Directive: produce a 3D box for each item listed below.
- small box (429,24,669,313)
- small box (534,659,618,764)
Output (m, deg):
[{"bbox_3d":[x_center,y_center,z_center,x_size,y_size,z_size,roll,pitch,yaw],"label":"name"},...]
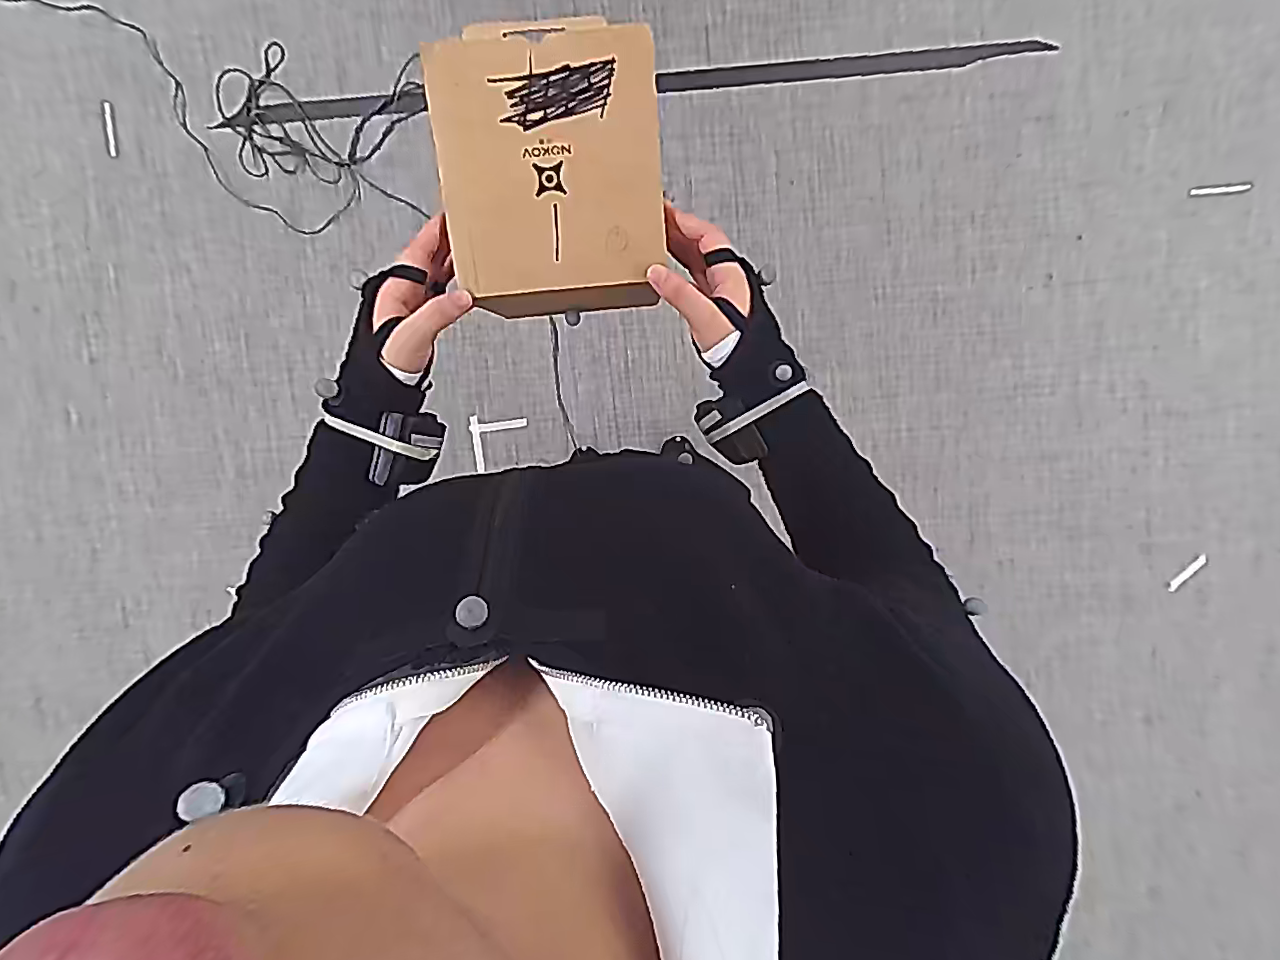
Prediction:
[{"bbox_3d":[-0.067,-0.253,0.483,0.168,0.176,0.179,-5,102,0],"label":"small box"},{"bbox_3d":[-0.140,0.526,1.263,0.168,0.176,0.179,-7,94,0],"label":"small box"}]
